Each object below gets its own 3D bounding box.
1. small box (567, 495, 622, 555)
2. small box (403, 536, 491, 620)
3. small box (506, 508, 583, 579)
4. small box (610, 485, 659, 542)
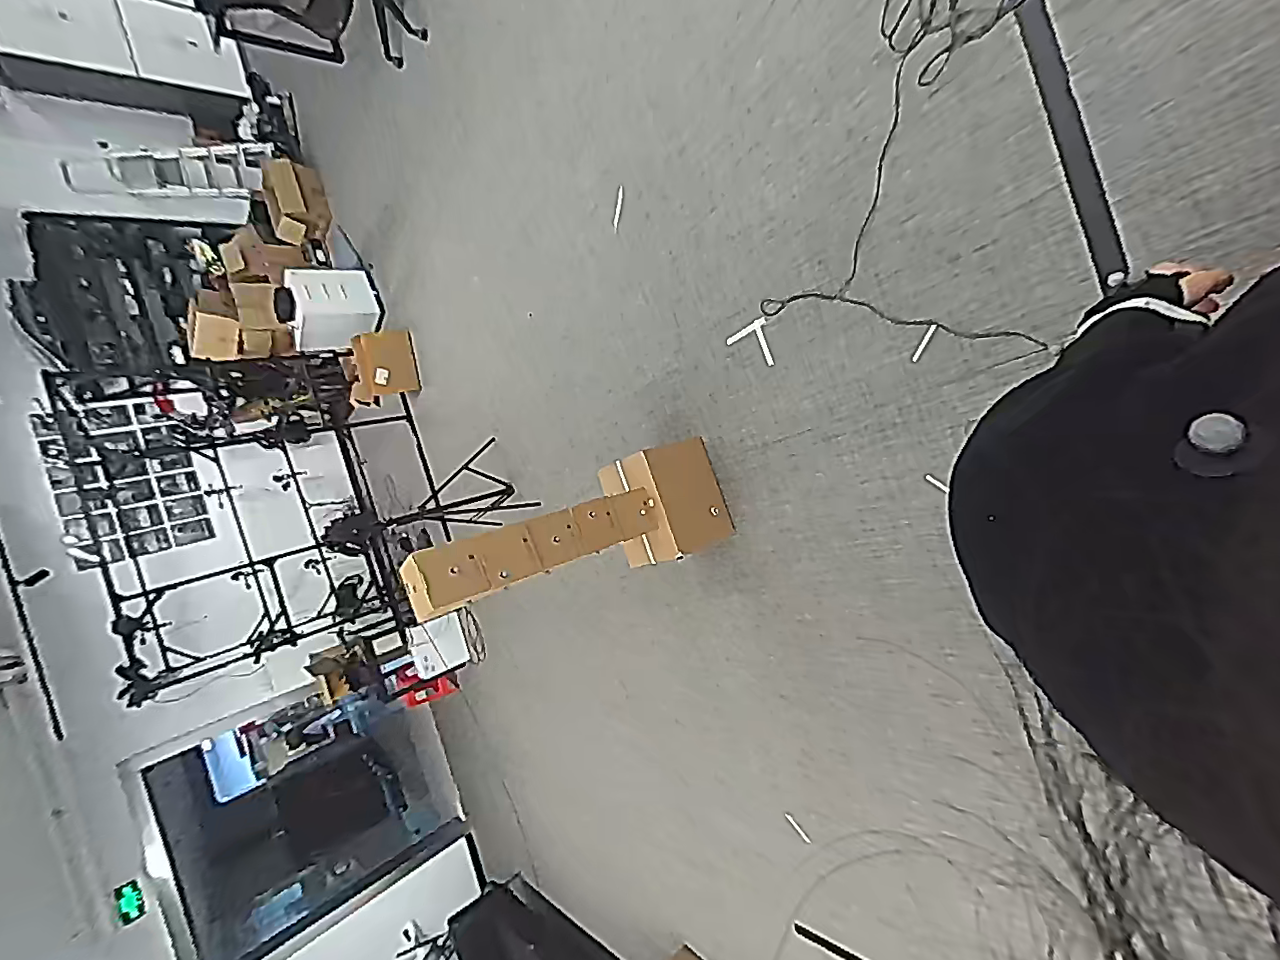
[{"bbox_3d":[-0.178,0.160,1.842,0.179,0.176,0.168,-26,83,51],"label":"small box"},{"bbox_3d":[-0.542,0.275,1.530,0.179,0.176,0.168,-36,74,48],"label":"small box"},{"bbox_3d":[-0.301,0.202,1.741,0.179,0.176,0.168,-32,78,49],"label":"small box"},{"bbox_3d":[-0.060,0.128,1.948,0.179,0.176,0.168,-23,86,50],"label":"small box"}]
